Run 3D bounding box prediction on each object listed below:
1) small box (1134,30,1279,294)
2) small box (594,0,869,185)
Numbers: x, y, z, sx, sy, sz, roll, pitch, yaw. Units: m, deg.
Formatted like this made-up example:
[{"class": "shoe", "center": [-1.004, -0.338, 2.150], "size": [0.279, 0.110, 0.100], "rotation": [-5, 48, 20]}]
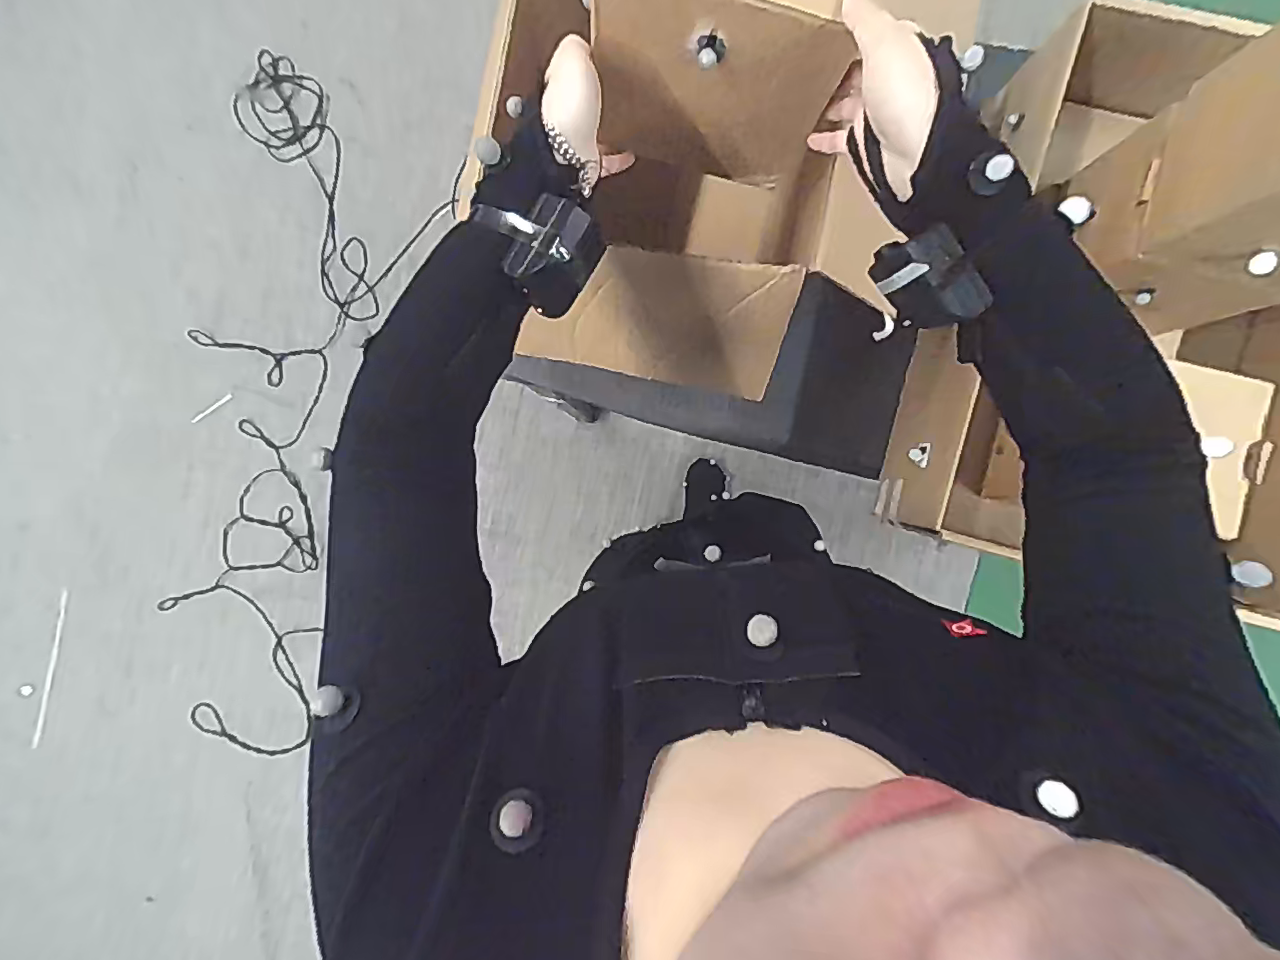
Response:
[{"class": "small box", "center": [0.601, -0.291, 0.476], "size": [0.168, 0.176, 0.179], "rotation": [16, 93, 2]}, {"class": "small box", "center": [0.064, -0.368, 0.420], "size": [0.179, 0.176, 0.168], "rotation": [13, 85, -6]}]
